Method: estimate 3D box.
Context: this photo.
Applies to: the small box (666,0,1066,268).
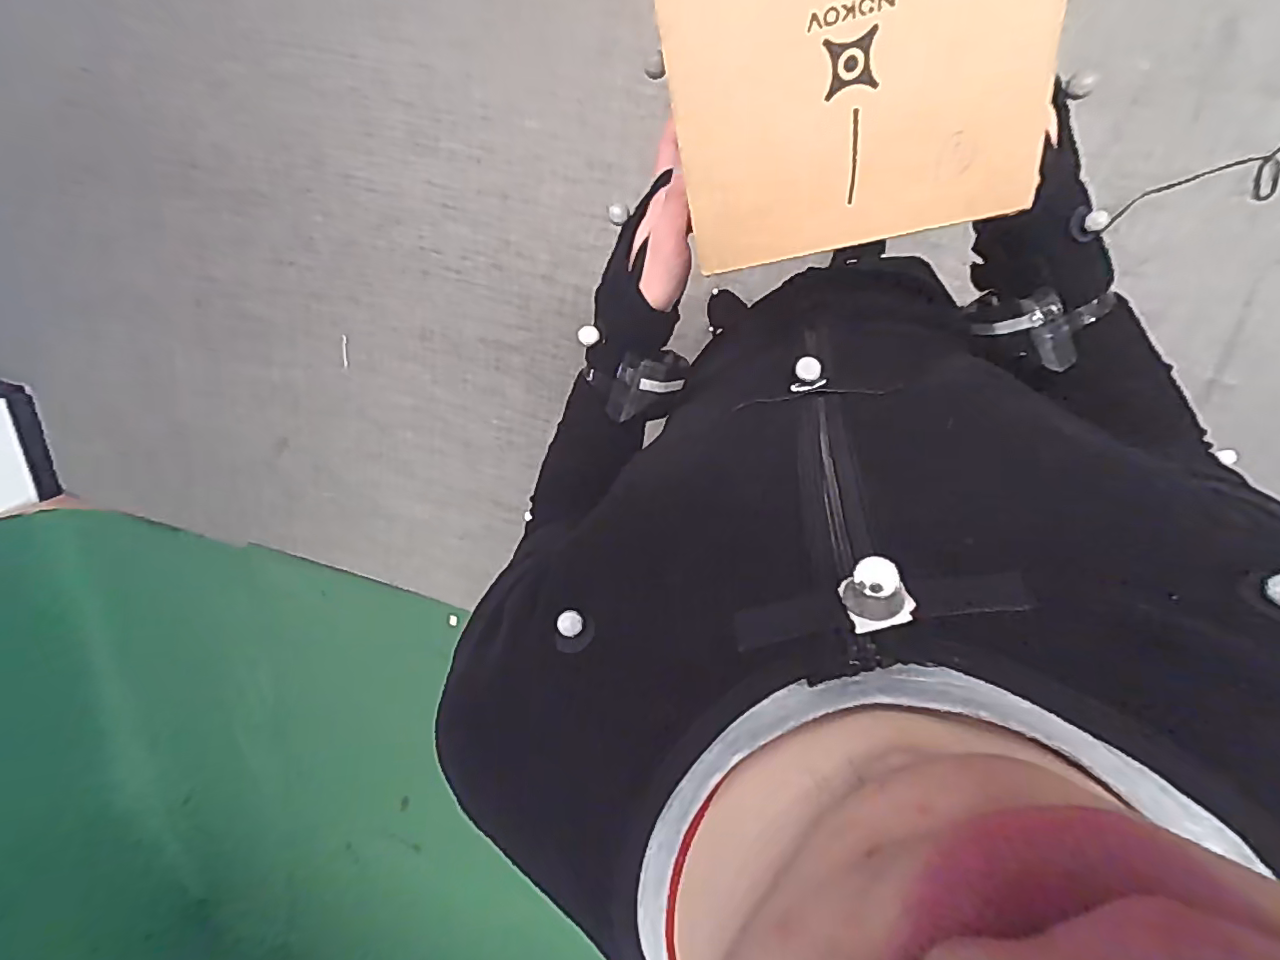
[{"bbox_3d":[0.103,-0.243,0.301,0.168,0.176,0.179,-7,126,13],"label":"small box"}]
